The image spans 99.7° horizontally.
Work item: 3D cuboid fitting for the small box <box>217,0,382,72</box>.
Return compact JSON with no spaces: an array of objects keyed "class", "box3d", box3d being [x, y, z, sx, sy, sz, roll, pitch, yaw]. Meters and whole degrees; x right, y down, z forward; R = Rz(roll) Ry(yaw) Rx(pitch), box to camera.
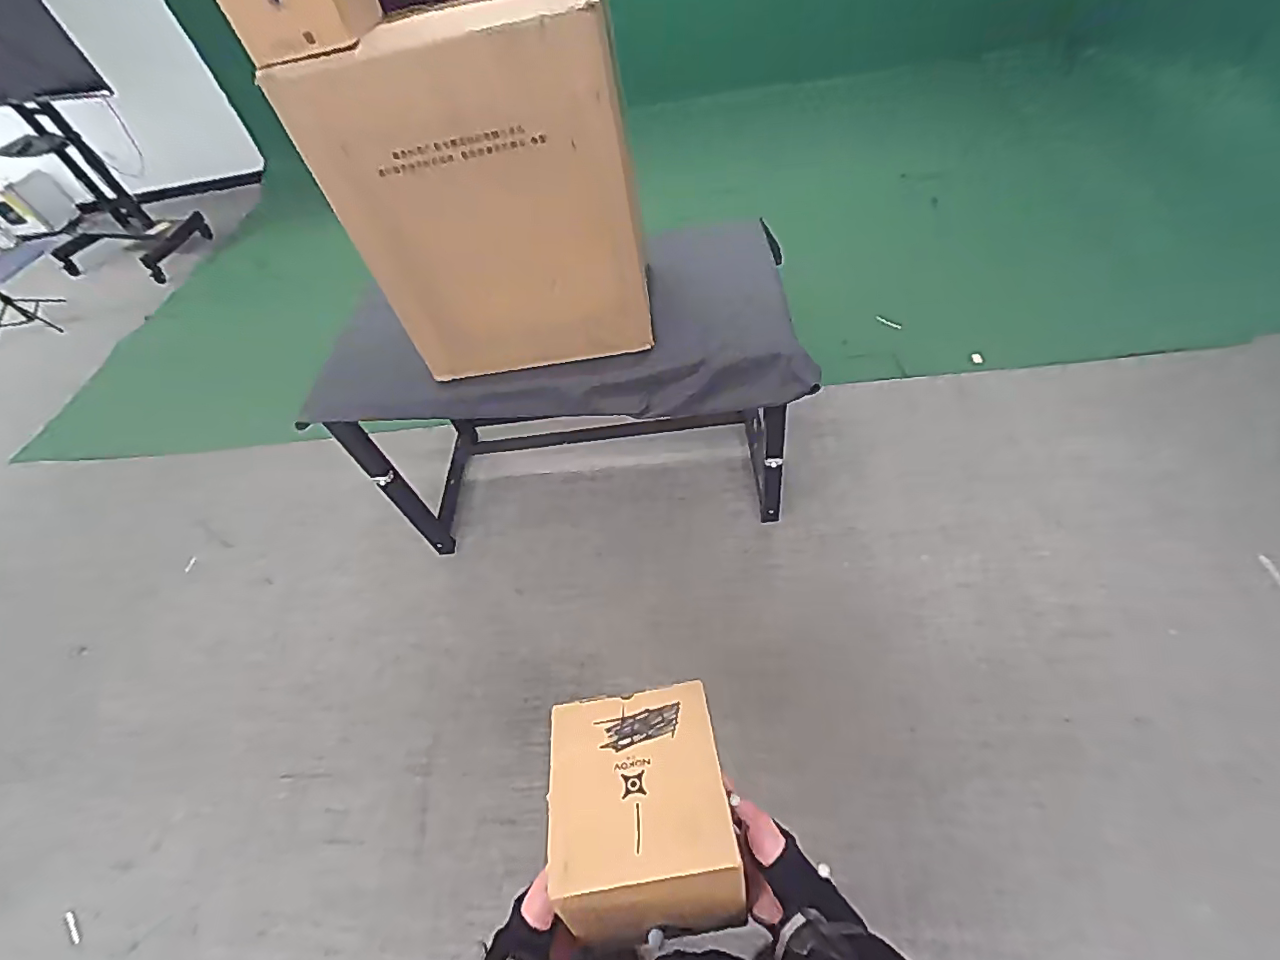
[{"class":"small box","box3d":[-0.525,-0.750,0.822,0.168,0.176,0.179,-7,52,7]}]
